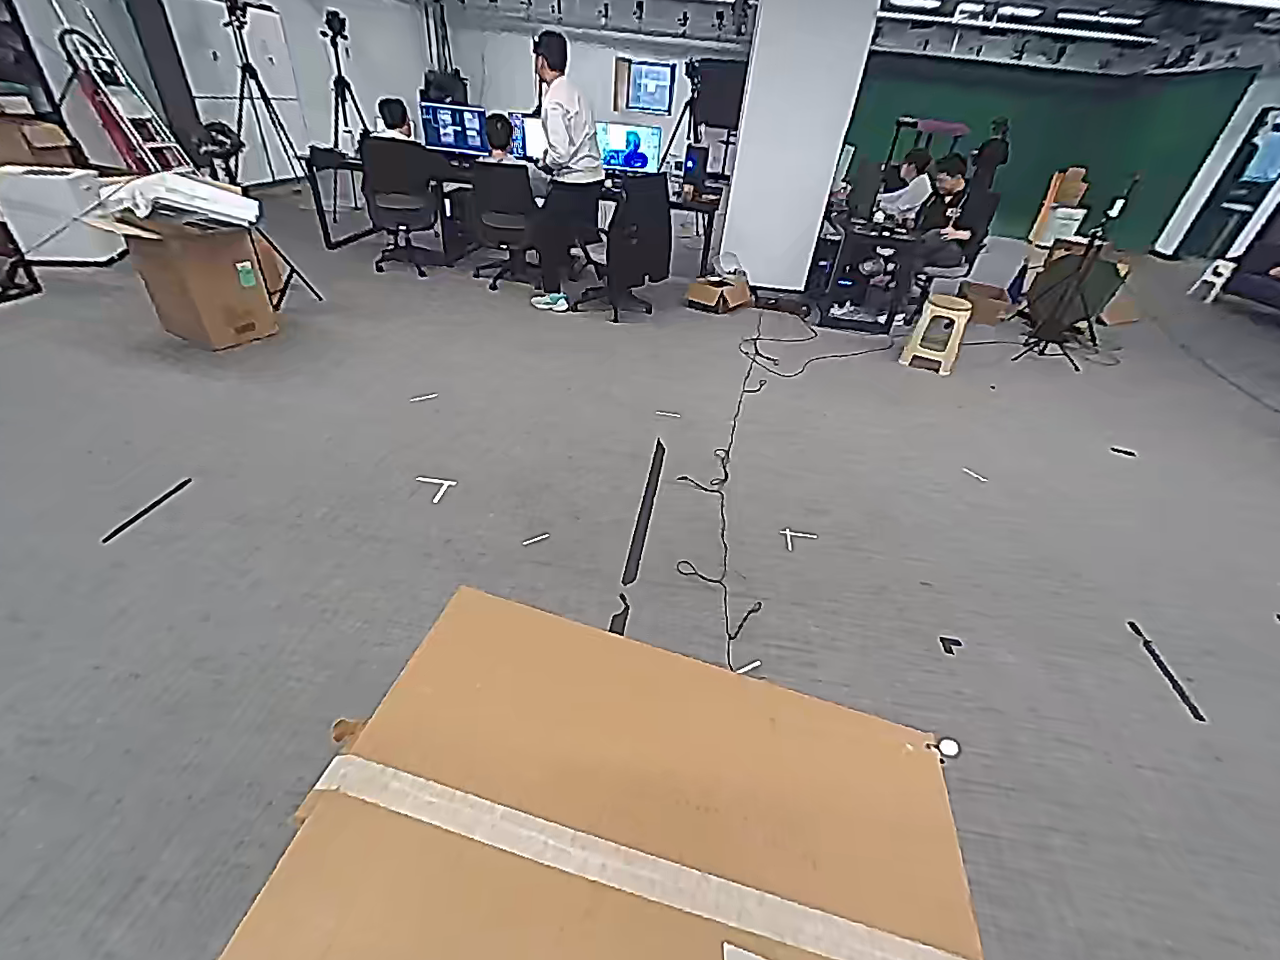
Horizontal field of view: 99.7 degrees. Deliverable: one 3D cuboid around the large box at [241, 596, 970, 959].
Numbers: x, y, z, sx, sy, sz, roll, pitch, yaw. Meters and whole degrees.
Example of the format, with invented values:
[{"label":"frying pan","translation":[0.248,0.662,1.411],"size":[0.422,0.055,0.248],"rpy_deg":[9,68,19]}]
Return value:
[{"label":"large box","translation":[-0.022,0.354,0.423],"size":[0.408,0.320,0.320],"rpy_deg":[18,39,3]}]
